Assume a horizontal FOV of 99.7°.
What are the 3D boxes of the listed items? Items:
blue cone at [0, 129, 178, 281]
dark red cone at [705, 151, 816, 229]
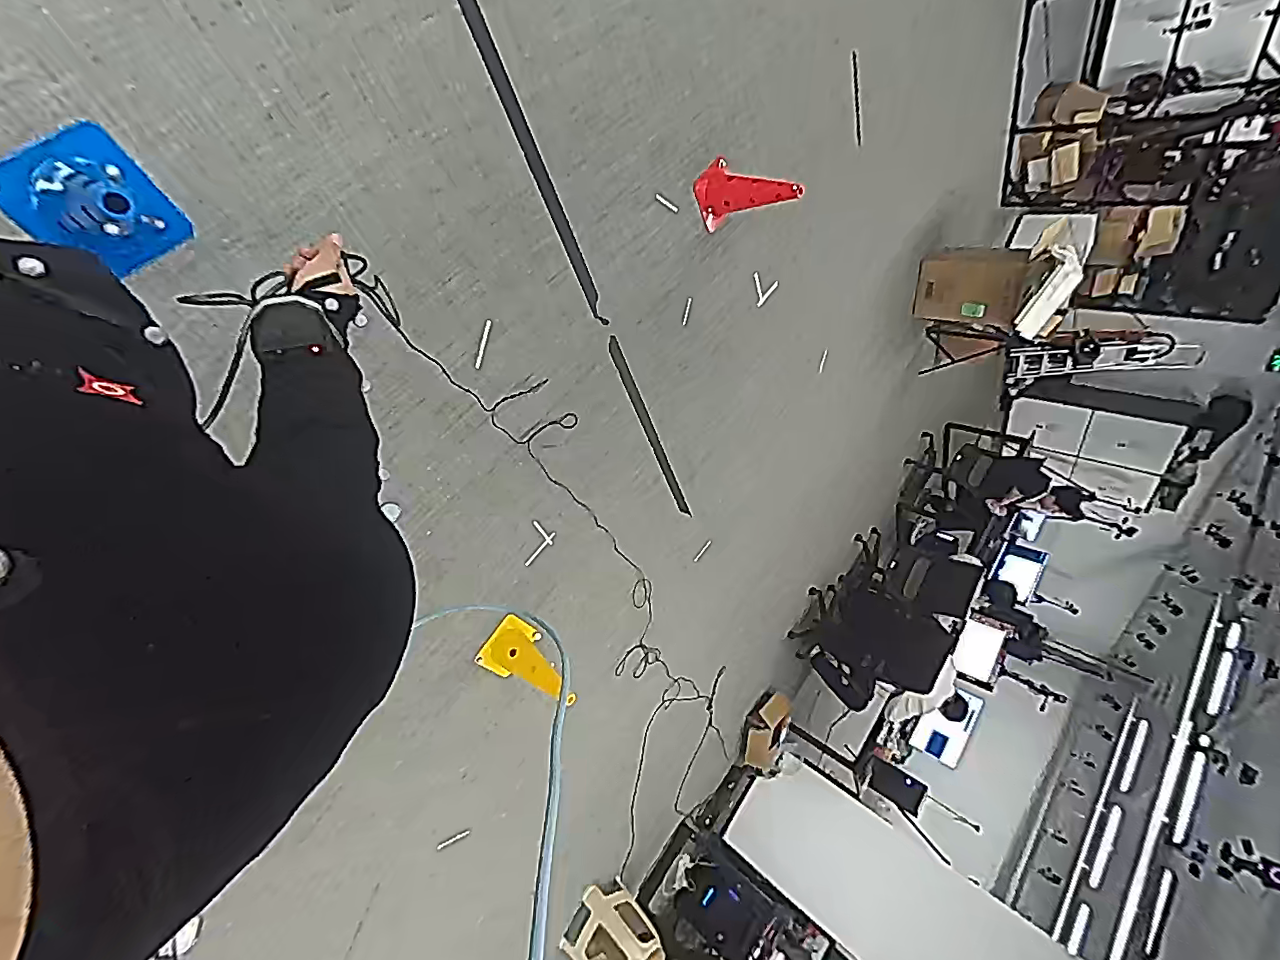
[{"bbox_3d":[-0.812,-0.406,0.801,0.192,0.380,0.193,-47,137,-21],"label":"blue cone"},{"bbox_3d":[0.429,-1.017,1.891,0.201,0.394,0.202,-53,139,-15],"label":"dark red cone"}]
